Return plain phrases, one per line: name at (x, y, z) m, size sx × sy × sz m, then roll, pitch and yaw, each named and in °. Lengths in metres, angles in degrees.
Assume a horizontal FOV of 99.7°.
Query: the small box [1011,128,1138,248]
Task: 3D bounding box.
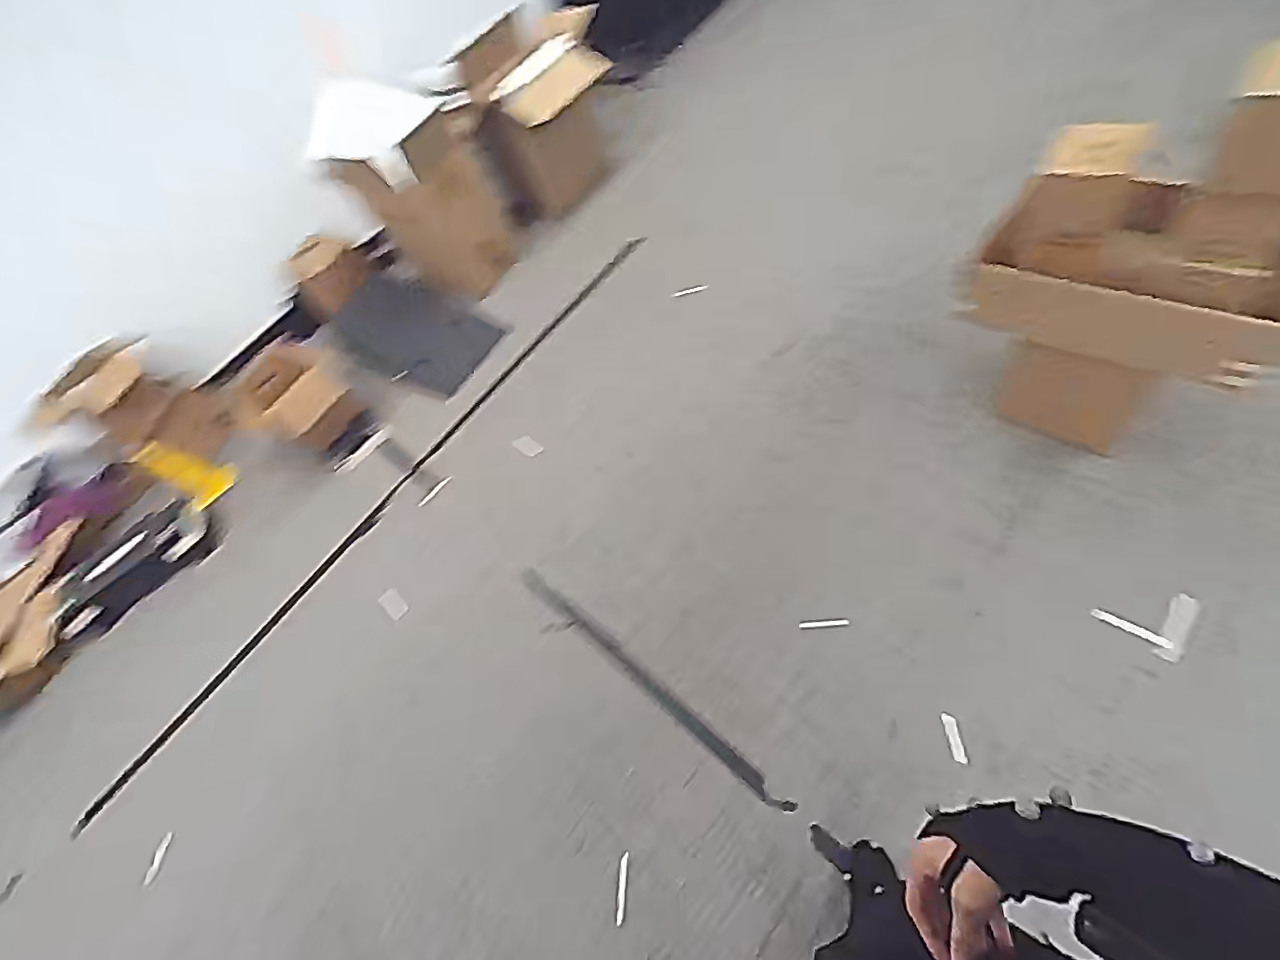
small box at (0.968, -0.658, 1.218) m, size 0.168 × 0.176 × 0.179 m, roll 22°, pitch 70°, yaw 32°
